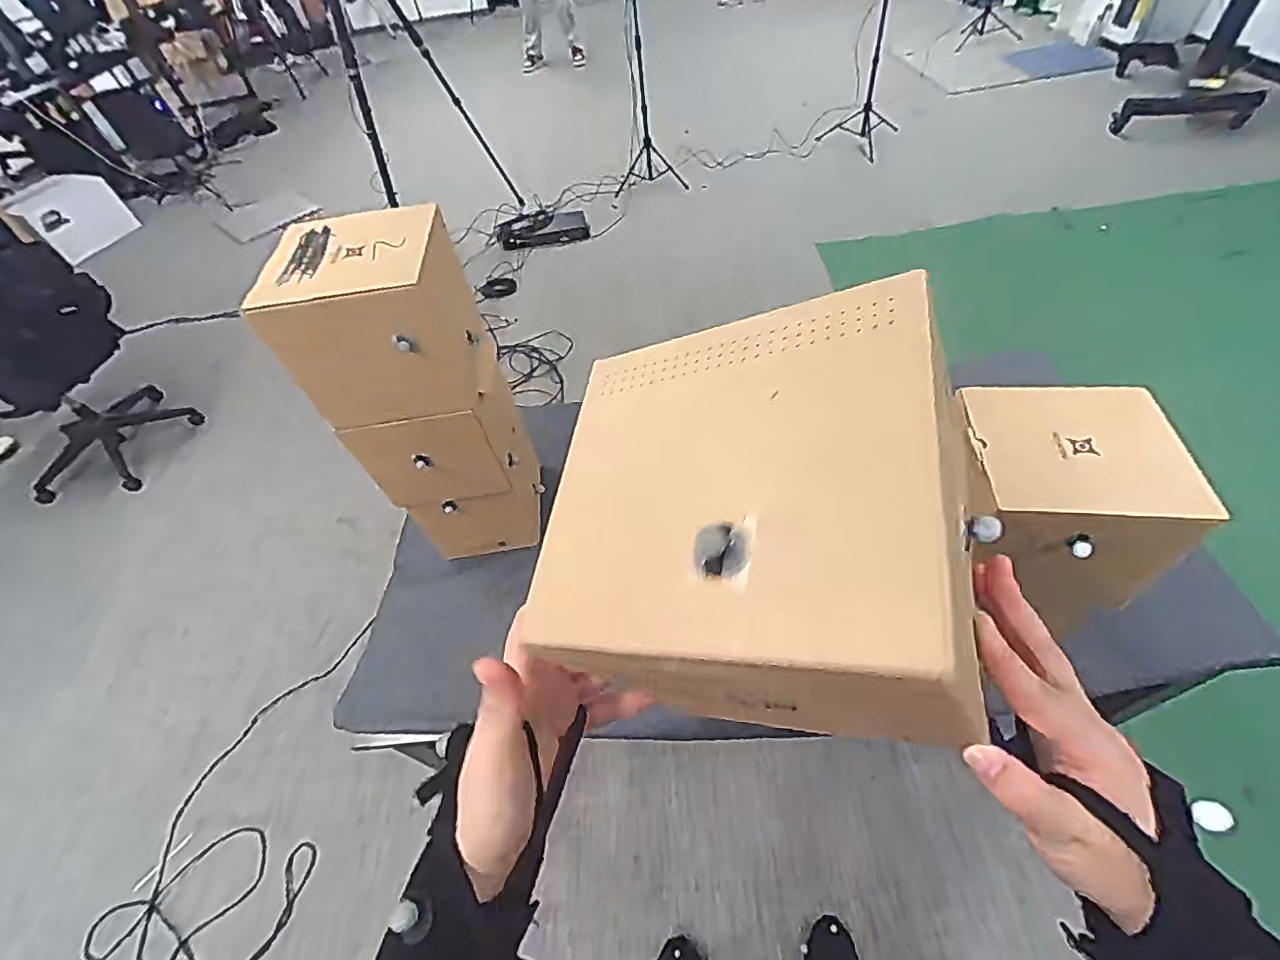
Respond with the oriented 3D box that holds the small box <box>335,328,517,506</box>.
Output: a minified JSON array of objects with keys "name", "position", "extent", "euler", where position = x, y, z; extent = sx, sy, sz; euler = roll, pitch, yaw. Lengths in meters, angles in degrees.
[{"name":"small box","position":[-0.280,-0.084,0.758],"extent":[0.179,0.176,0.168],"euler":[-9,52,2]}]

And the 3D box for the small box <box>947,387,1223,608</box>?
[{"name":"small box","position":[0.417,0.021,0.567],"extent":[0.179,0.176,0.168],"euler":[2,51,12]}]

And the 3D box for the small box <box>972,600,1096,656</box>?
[{"name":"small box","position":[0.436,0.112,0.701],"extent":[0.168,0.176,0.179],"euler":[-6,50,5]}]

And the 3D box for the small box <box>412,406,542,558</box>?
[{"name":"small box","position":[-0.264,0.005,0.897],"extent":[0.168,0.176,0.179],"euler":[-9,51,1]}]

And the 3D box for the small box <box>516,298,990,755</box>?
[{"name":"small box","position":[0.068,0.034,0.287],"extent":[0.179,0.168,0.176],"euler":[-7,59,35]}]
